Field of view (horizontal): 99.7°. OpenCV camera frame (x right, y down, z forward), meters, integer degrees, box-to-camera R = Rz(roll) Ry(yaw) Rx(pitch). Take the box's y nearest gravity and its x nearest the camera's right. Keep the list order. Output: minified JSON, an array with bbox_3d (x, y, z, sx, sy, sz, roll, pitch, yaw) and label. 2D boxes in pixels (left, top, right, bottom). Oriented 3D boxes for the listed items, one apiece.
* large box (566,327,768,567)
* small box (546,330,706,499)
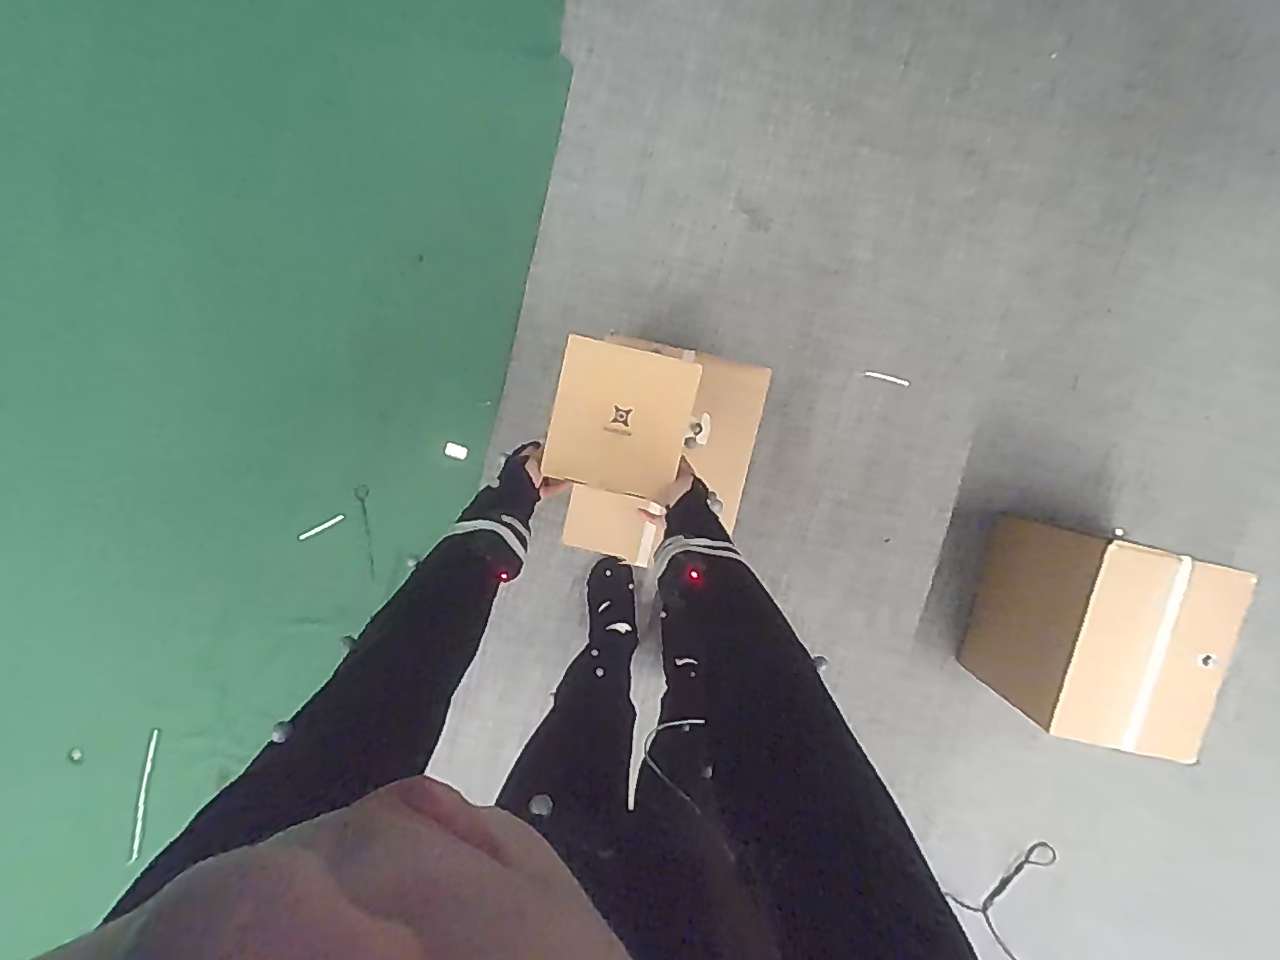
[{"bbox_3d":[0.048,-0.069,1.150,0.320,0.320,0.408,12,96,-2],"label":"large box"},{"bbox_3d":[-0.017,-0.086,0.733,0.168,0.176,0.179,13,96,0],"label":"small box"}]
